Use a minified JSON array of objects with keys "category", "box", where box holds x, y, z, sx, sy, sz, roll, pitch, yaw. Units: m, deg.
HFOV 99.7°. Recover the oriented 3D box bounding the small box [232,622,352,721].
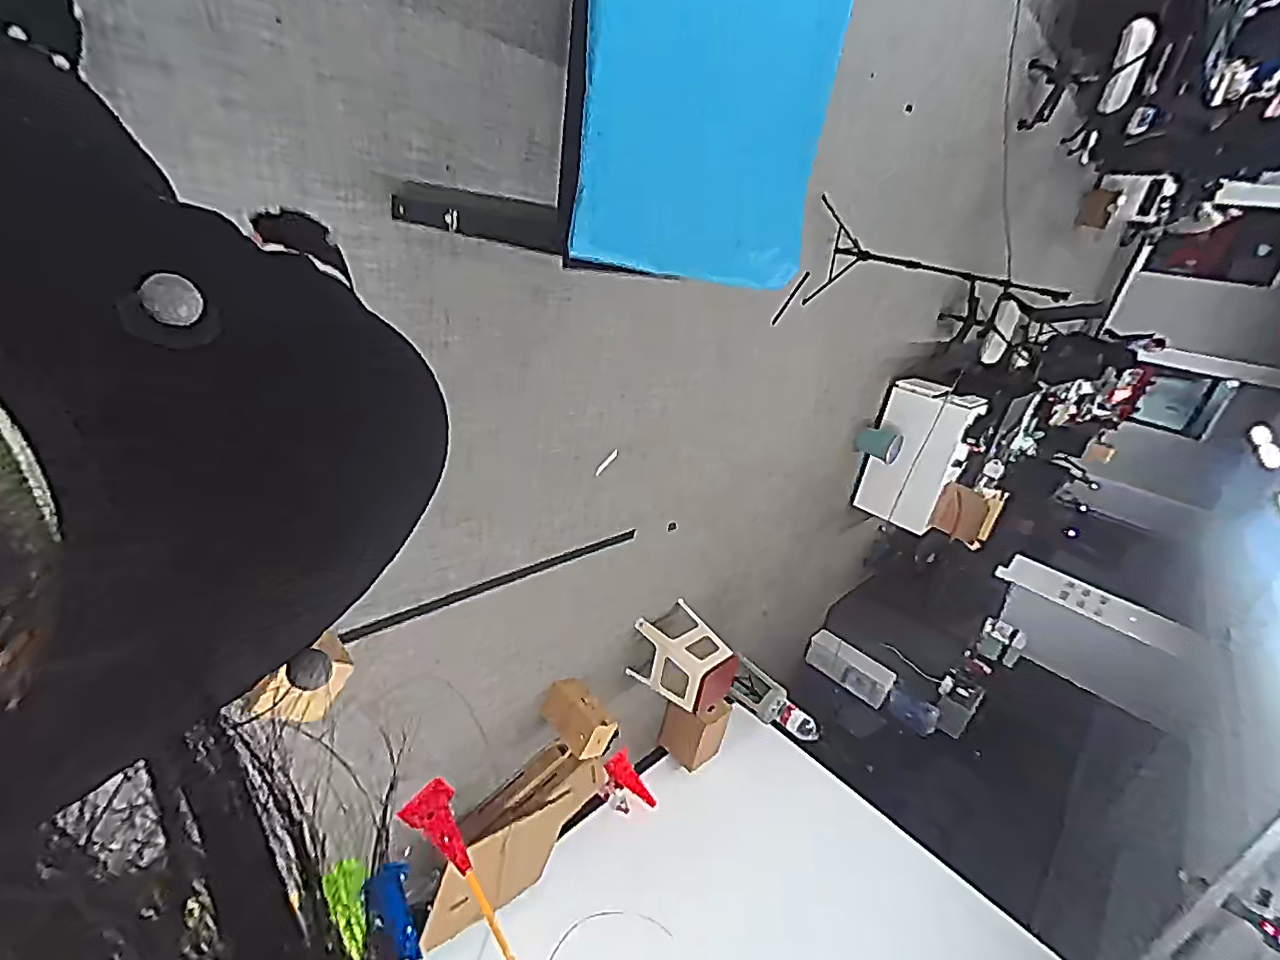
[{"category":"small box","box":[-0.870,0.484,1.360,0.168,0.176,0.179,-57,143,-5]}]
